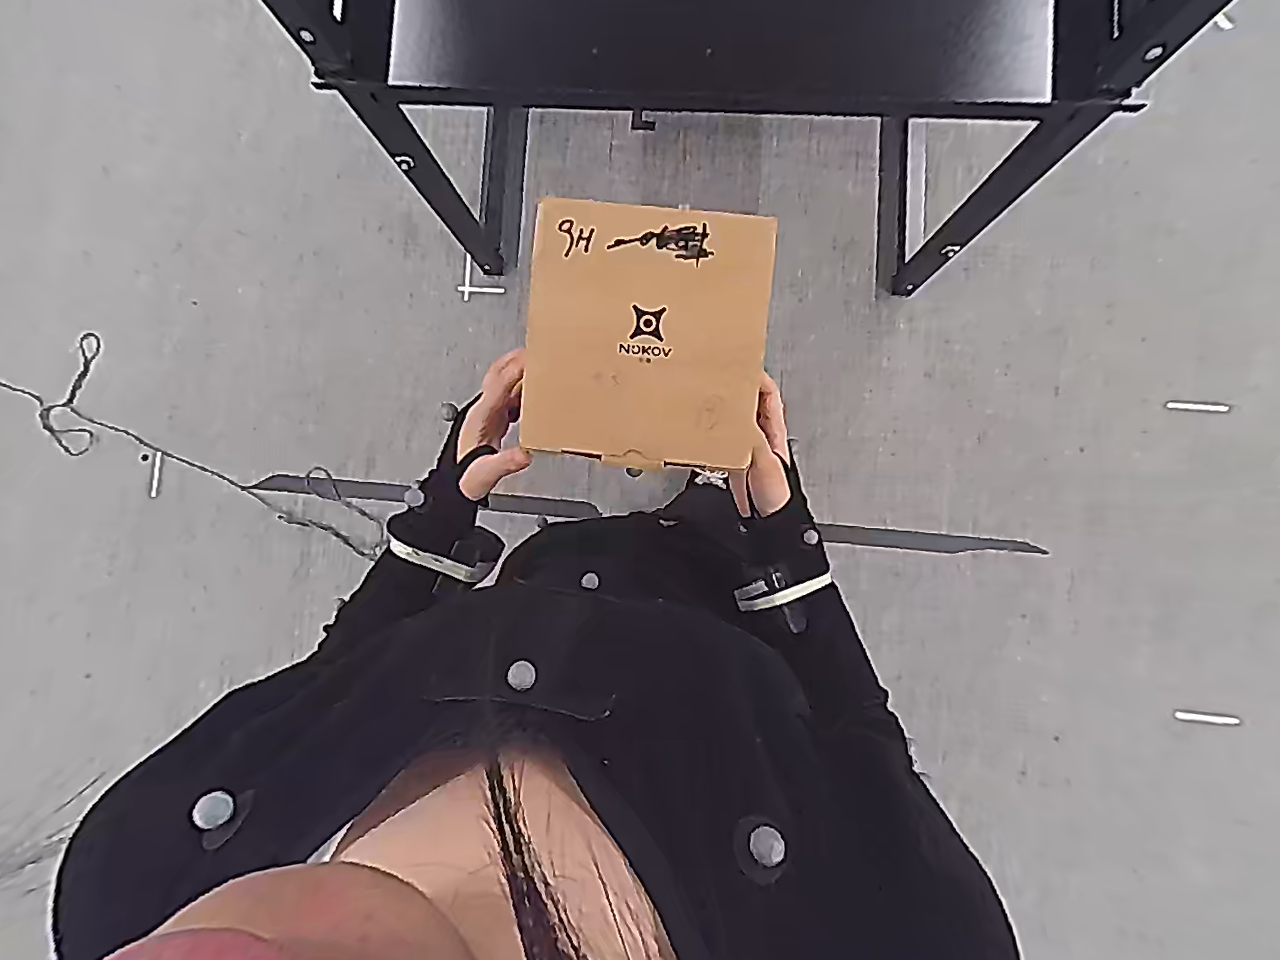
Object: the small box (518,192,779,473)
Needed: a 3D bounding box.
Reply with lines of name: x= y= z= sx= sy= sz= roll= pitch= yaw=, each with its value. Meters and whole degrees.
small box: x=0.005 y=-0.107 z=0.451 sx=0.168 sy=0.176 sz=0.179 roll=6 pitch=95 yaw=0
